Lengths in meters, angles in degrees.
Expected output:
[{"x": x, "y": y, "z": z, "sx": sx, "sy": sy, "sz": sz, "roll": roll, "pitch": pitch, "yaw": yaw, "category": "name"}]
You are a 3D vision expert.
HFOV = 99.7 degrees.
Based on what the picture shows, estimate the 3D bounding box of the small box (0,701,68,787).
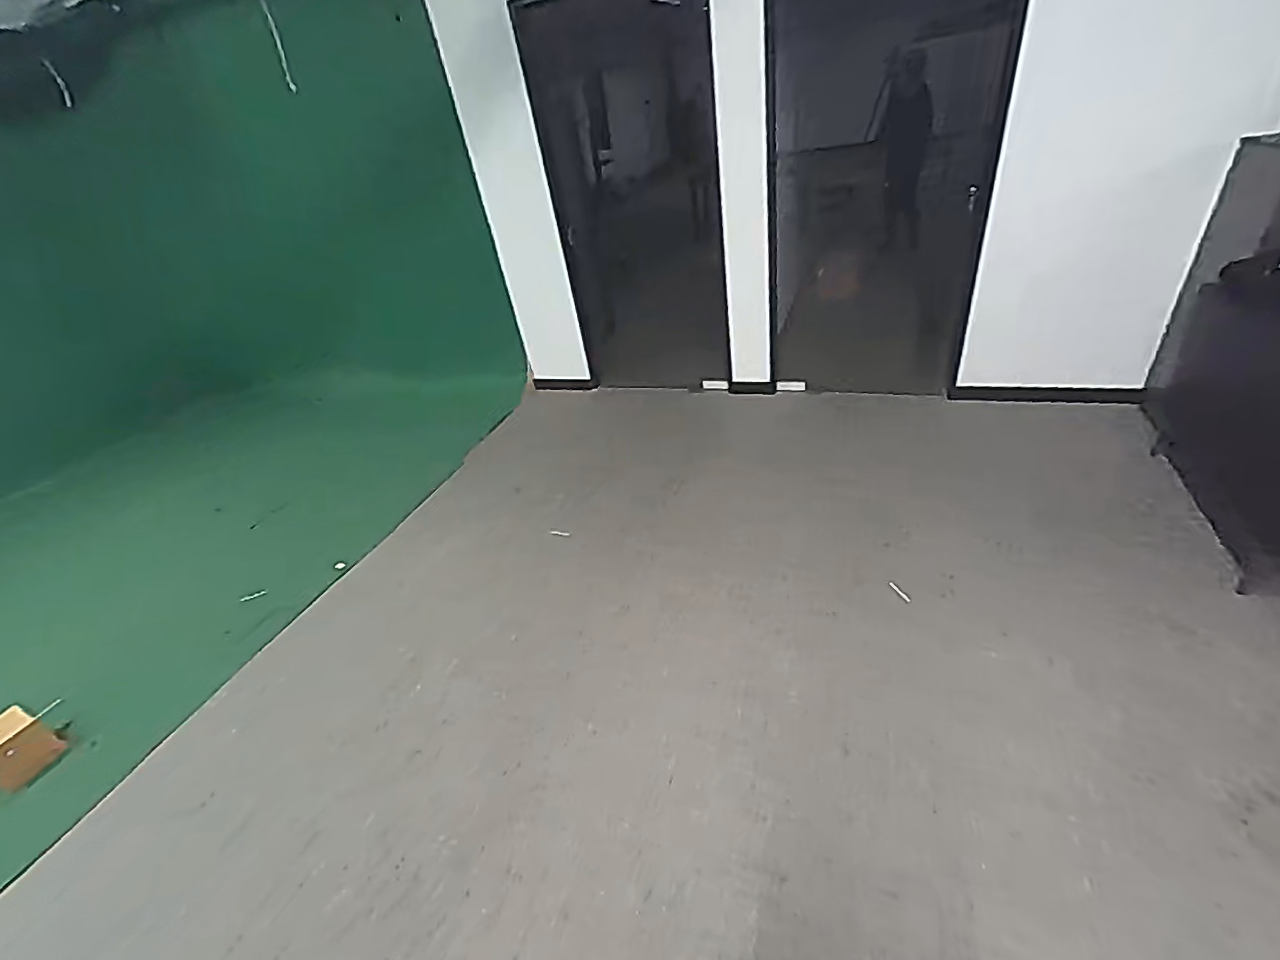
[{"x": -2.112, "y": 0.894, "z": 1.831, "sx": 0.168, "sy": 0.176, "sz": 0.179, "roll": 9, "pitch": 39, "yaw": 25, "category": "small box"}]
